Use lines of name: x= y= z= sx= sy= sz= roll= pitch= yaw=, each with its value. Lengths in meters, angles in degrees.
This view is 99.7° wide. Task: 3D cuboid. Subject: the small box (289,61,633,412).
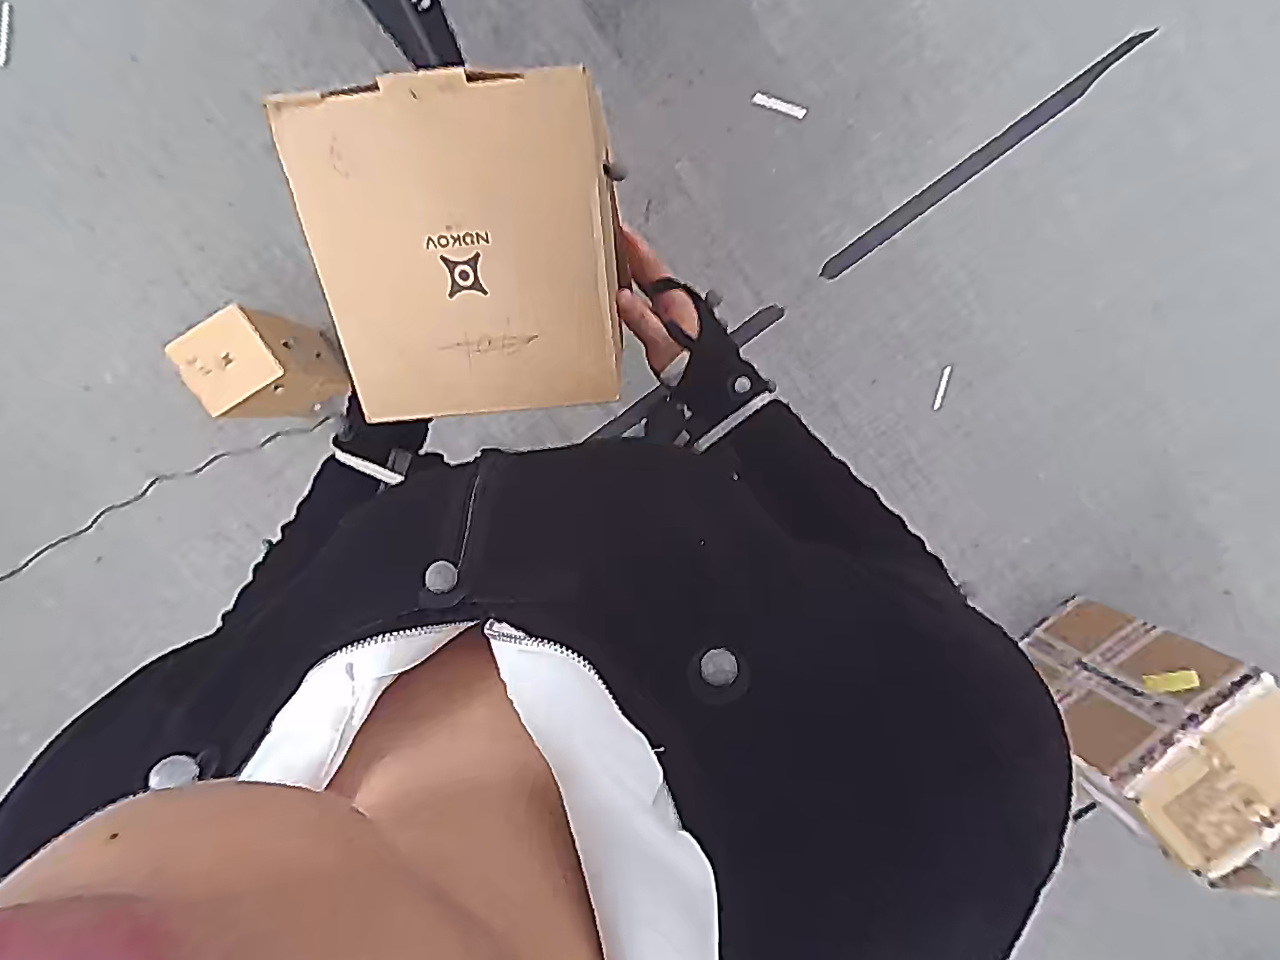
small box: x=-0.094 y=-0.161 z=0.382 sx=0.168 sy=0.176 sz=0.179 roll=-4 pitch=116 yaw=2

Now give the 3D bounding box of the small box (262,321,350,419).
small box: x=-0.861 y=-0.262 z=1.328 sx=0.168 sy=0.176 sz=0.179 roll=-29 pitch=98 yaw=1

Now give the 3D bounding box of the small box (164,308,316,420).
small box: x=-0.841 y=-0.243 z=1.165 sx=0.179 sy=0.176 sz=0.168 roll=-32 pitch=96 yaw=1
